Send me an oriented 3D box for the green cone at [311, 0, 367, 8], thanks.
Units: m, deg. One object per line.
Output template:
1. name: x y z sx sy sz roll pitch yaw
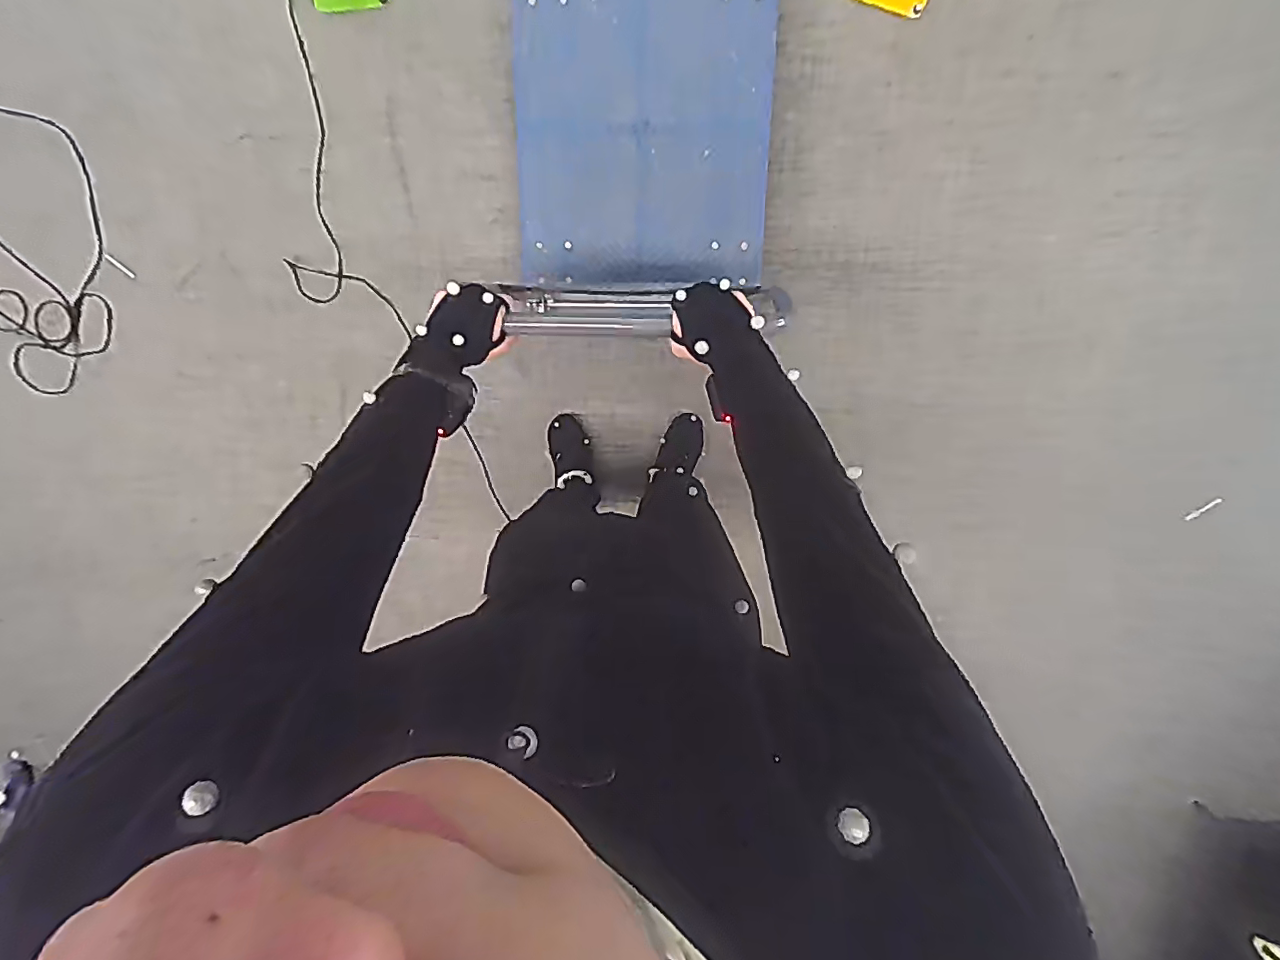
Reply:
1. green cone: -0.755 -1.248 1.164 0.202 0.368 0.200 -1 104 7
